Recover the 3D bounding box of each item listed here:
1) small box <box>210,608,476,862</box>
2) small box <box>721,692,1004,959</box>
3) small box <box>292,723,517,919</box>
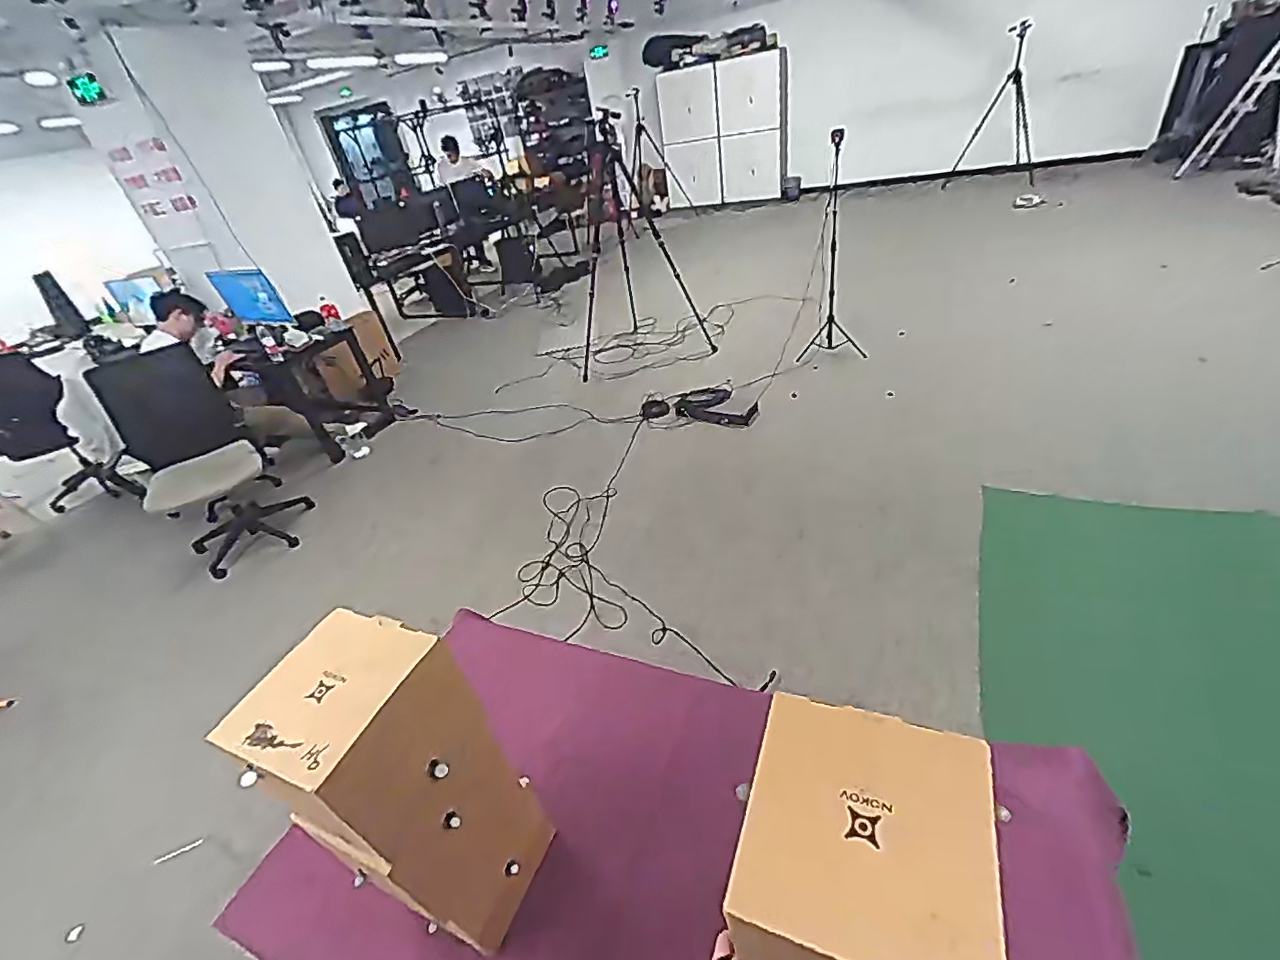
[{"bbox_3d":[-0.310,0.278,0.609,0.168,0.176,0.179,6,39,25],"label":"small box"},{"bbox_3d":[0.176,0.309,0.428,0.168,0.176,0.179,4,37,25],"label":"small box"},{"bbox_3d":[-0.285,0.414,0.698,0.168,0.176,0.179,8,40,26],"label":"small box"}]
